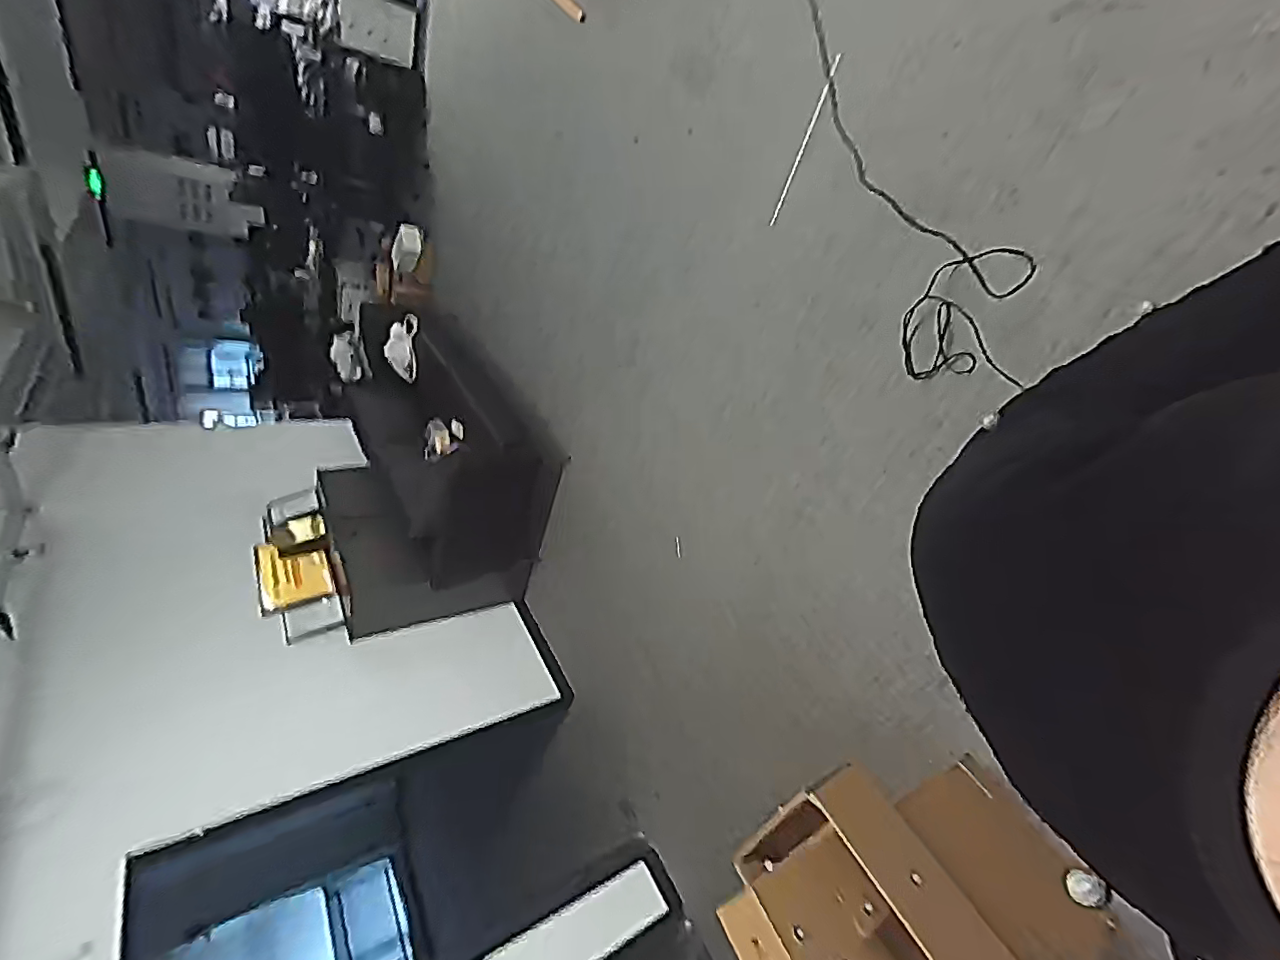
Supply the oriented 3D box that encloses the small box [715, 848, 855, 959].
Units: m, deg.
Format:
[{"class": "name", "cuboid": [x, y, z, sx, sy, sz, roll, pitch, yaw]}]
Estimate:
[{"class": "small box", "cuboid": [0.292, 0.893, 1.090, 0.179, 0.176, 0.168, 55, 135, 35]}]
